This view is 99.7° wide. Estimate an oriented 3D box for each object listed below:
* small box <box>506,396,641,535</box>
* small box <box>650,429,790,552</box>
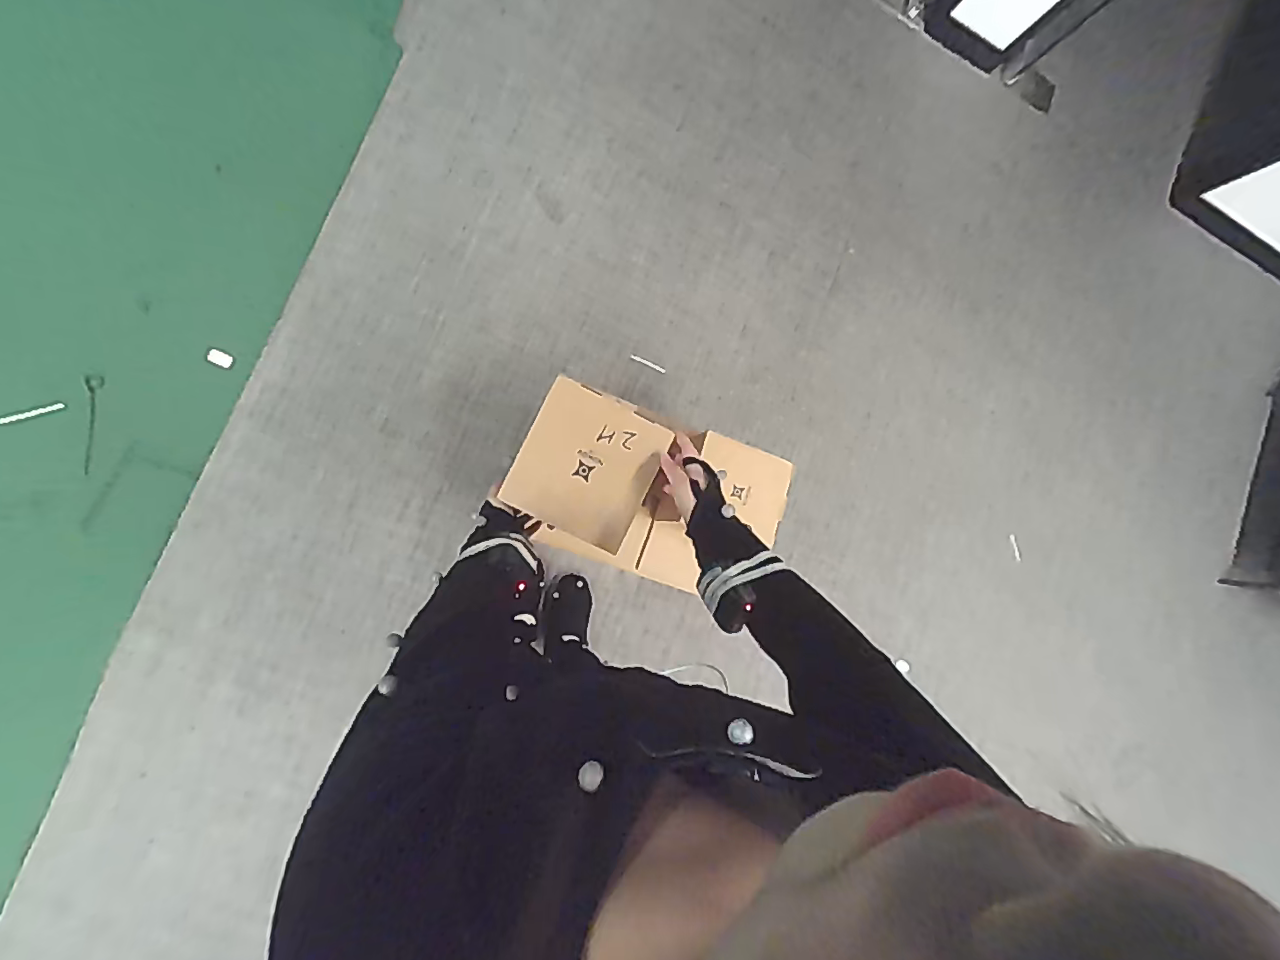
[{"bbox_3d":[-0.120,-0.021,0.924,0.168,0.176,0.179,23,84,-14],"label":"small box"},{"bbox_3d":[0.139,0.021,0.993,0.179,0.176,0.168,21,82,-12],"label":"small box"}]
